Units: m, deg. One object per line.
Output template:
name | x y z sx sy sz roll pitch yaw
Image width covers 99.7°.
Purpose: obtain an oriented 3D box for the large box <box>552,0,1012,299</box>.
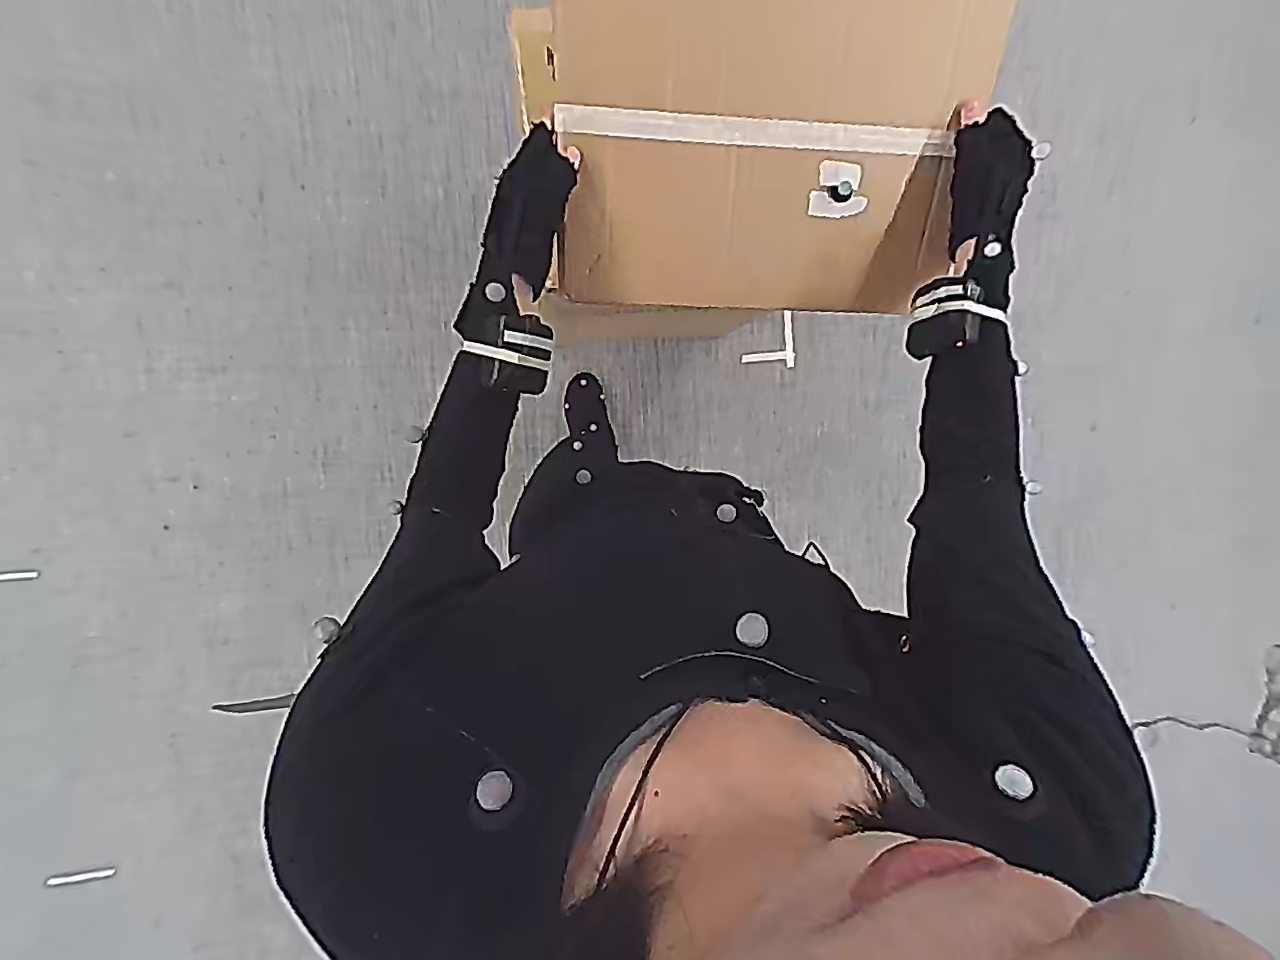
large box | 0.109 -0.386 0.627 0.408 0.320 0.320 -1 114 -7
